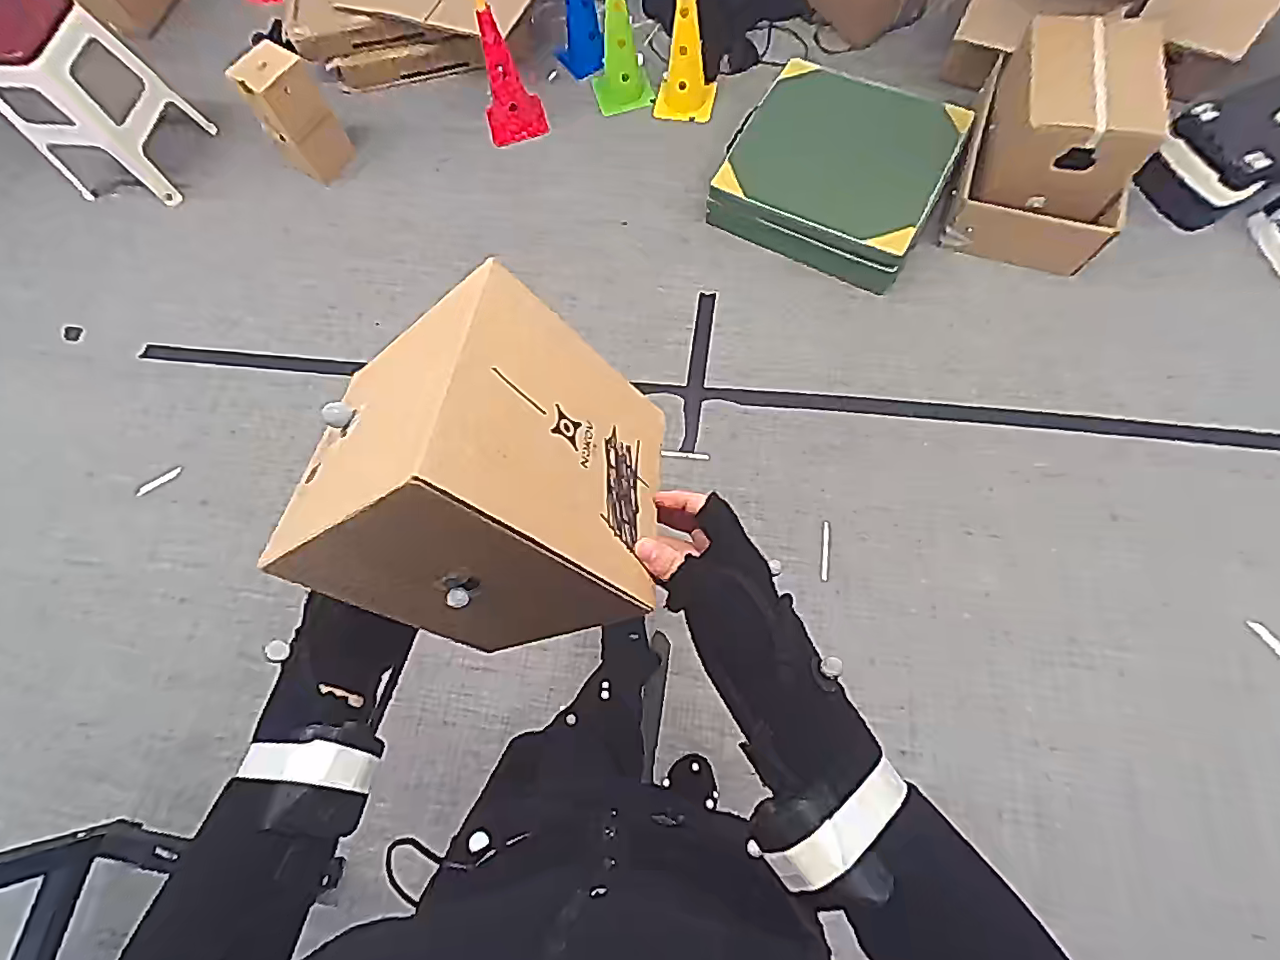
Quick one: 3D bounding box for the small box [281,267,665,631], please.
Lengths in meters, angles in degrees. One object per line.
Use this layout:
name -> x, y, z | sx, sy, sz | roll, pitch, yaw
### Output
small box -> -0.103, -0.002, 0.384 | 0.176, 0.179, 0.168 | -23, 47, 32
